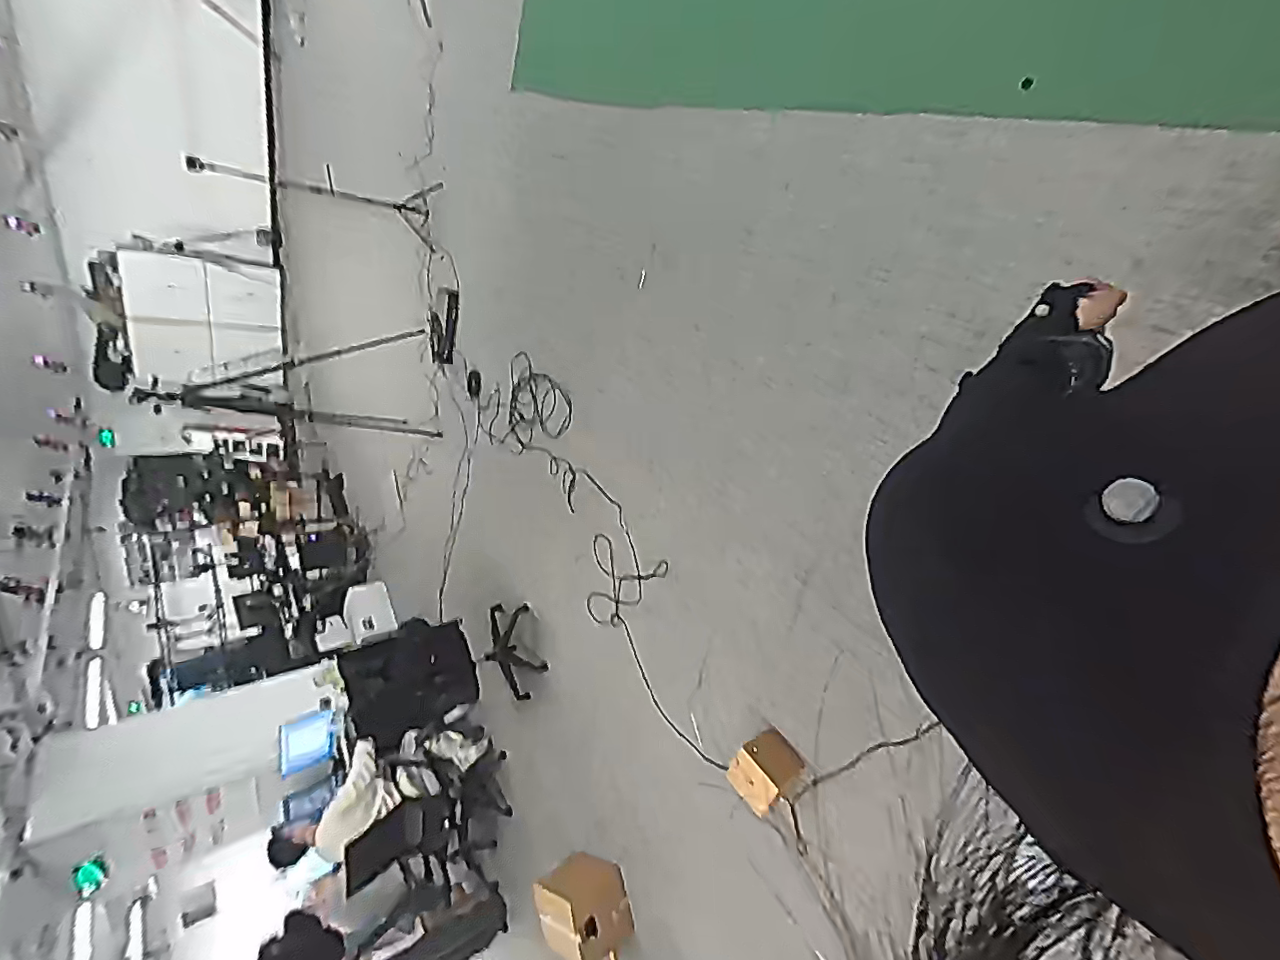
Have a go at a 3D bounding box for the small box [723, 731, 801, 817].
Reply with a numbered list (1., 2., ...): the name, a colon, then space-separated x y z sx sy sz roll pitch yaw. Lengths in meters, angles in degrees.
1. small box: 0.428 1.016 1.884 0.179 0.176 0.168 40 124 39
